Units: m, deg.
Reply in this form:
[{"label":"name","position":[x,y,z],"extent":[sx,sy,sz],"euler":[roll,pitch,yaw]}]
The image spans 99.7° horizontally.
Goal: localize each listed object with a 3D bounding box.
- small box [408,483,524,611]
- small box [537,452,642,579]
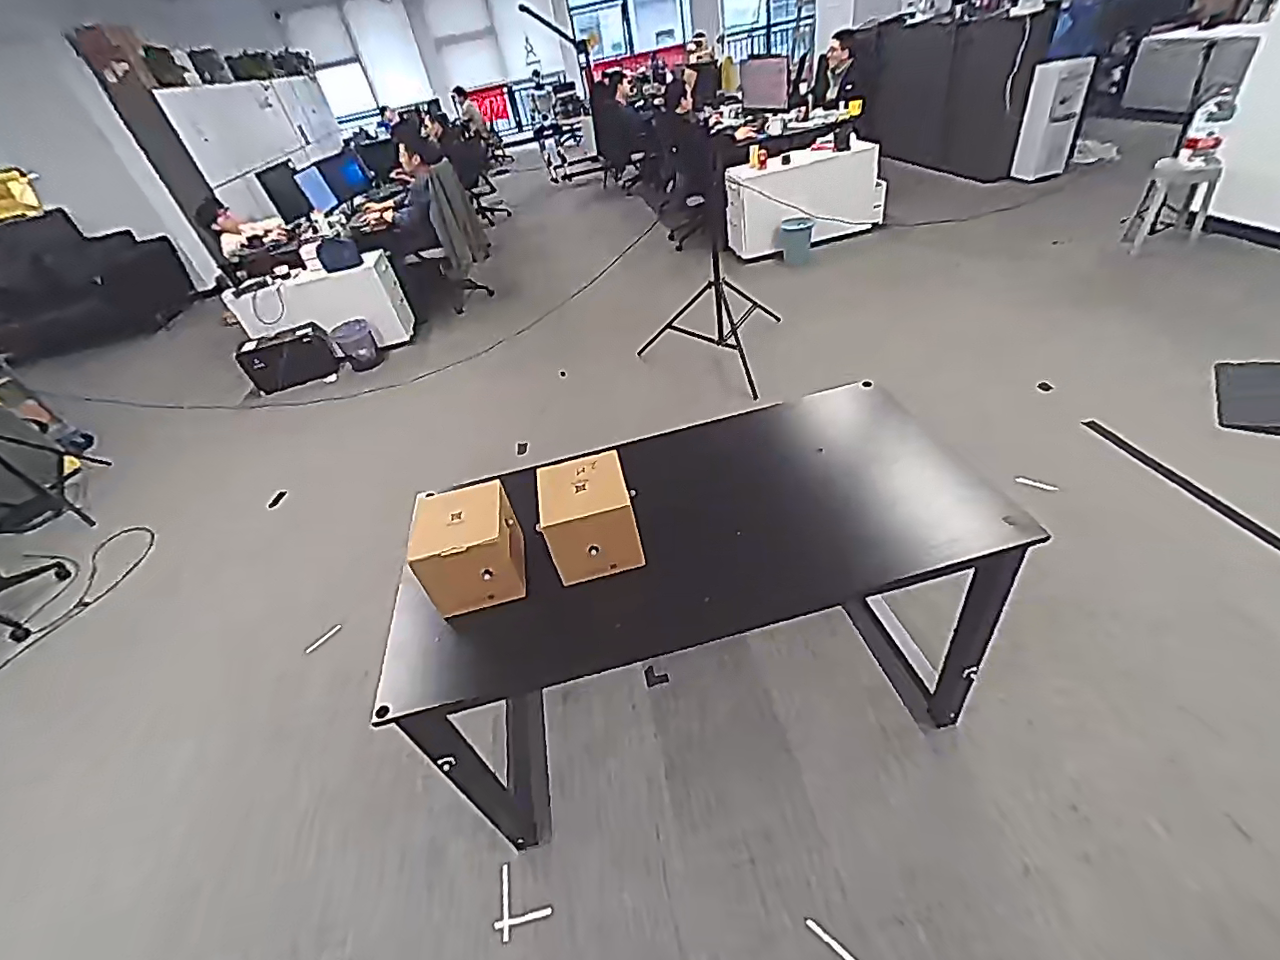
[{"label":"small box","position":[-0.331,0.137,1.062],"extent":[0.168,0.176,0.179],"euler":[-14,38,-4]},{"label":"small box","position":[-0.099,0.076,1.069],"extent":[0.168,0.176,0.179],"euler":[-14,39,-2]}]
